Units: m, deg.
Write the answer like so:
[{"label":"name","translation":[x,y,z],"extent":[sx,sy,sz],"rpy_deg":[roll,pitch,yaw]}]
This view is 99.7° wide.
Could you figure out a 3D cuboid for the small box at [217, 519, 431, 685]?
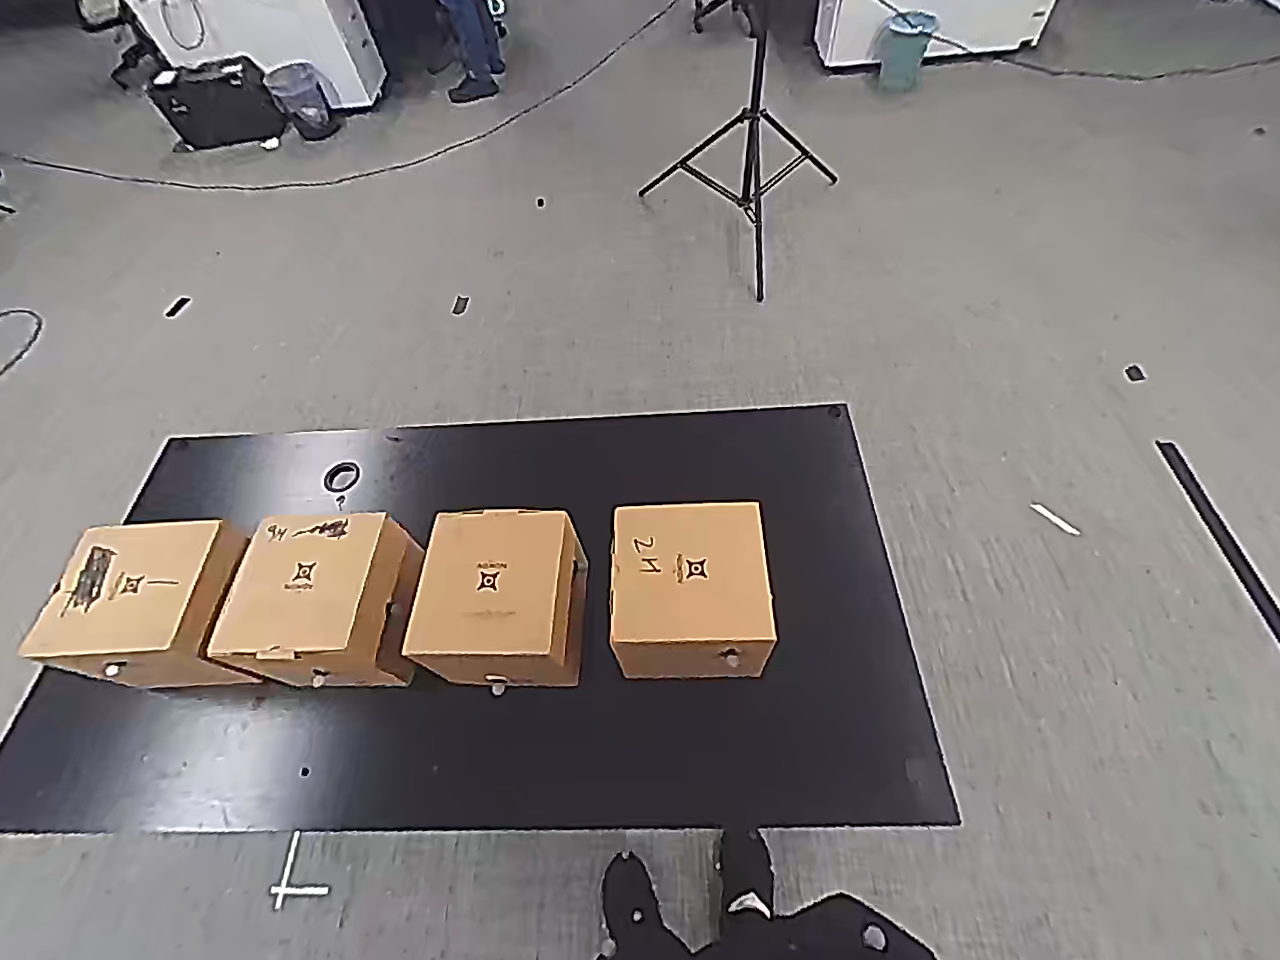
[{"label":"small box","translation":[-0.389,0.167,0.712],"extent":[0.168,0.176,0.179],"rpy_deg":[-2,58,4]}]

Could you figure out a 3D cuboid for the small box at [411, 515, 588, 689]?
[{"label":"small box","translation":[-0.163,0.161,0.698],"extent":[0.168,0.176,0.179],"rpy_deg":[-3,58,5]}]

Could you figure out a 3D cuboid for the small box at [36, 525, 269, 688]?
[{"label":"small box","translation":[-0.603,0.175,0.725],"extent":[0.179,0.176,0.168],"rpy_deg":[-4,58,1]}]
